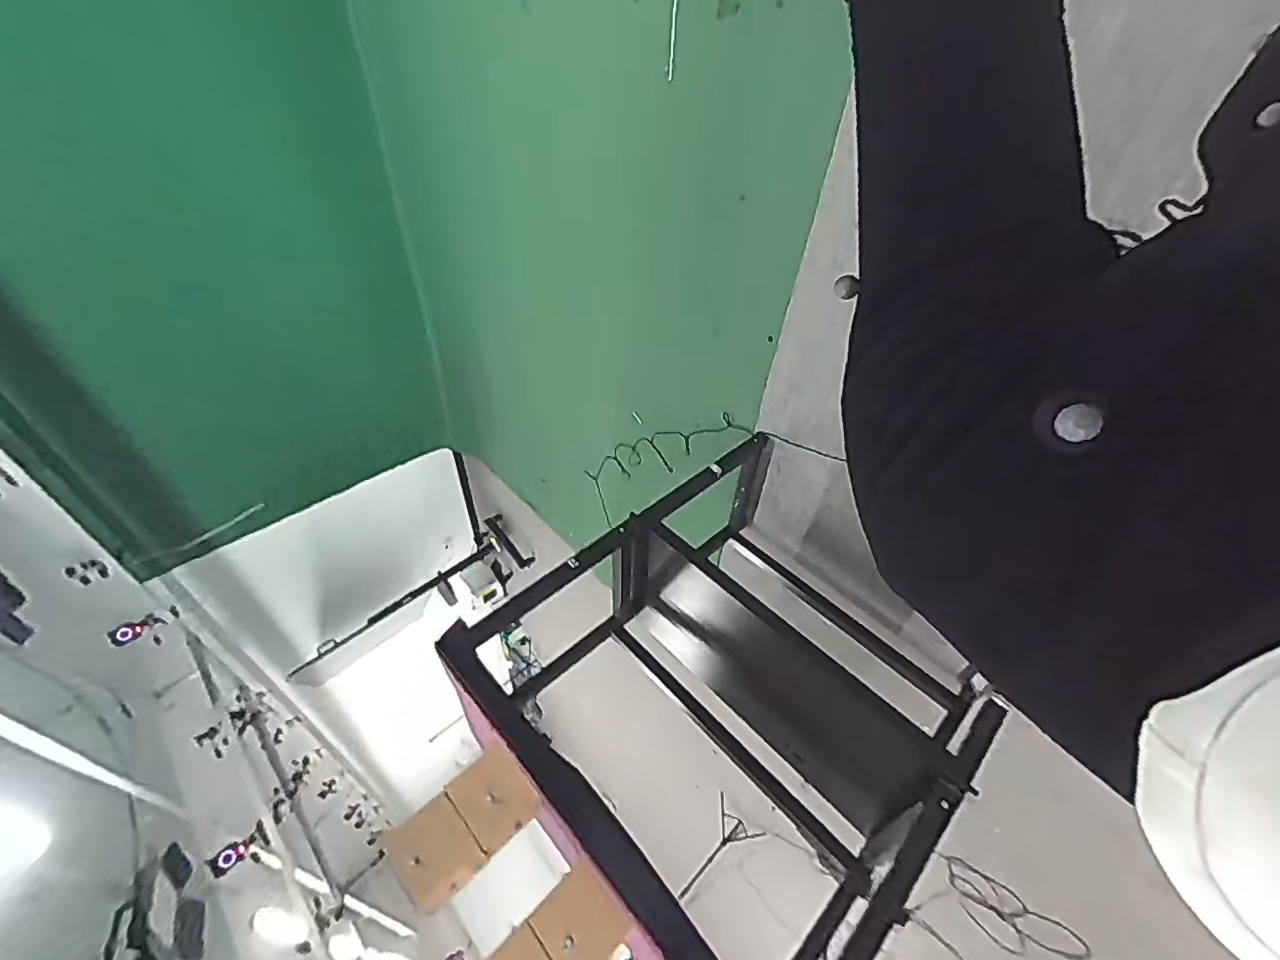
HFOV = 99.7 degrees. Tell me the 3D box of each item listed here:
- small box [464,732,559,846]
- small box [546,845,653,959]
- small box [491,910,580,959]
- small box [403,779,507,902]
[{"bbox_3d":[-0.323,0.797,1.401,0.179,0.176,0.168,39,145,28],"label":"small box"},{"bbox_3d":[-0.088,0.975,1.220,0.179,0.176,0.168,39,146,29],"label":"small box"},{"bbox_3d":[-0.209,1.051,1.139,0.179,0.176,0.168,38,146,29],"label":"small box"},{"bbox_3d":[-0.440,0.878,1.320,0.179,0.176,0.168,41,147,27],"label":"small box"}]
